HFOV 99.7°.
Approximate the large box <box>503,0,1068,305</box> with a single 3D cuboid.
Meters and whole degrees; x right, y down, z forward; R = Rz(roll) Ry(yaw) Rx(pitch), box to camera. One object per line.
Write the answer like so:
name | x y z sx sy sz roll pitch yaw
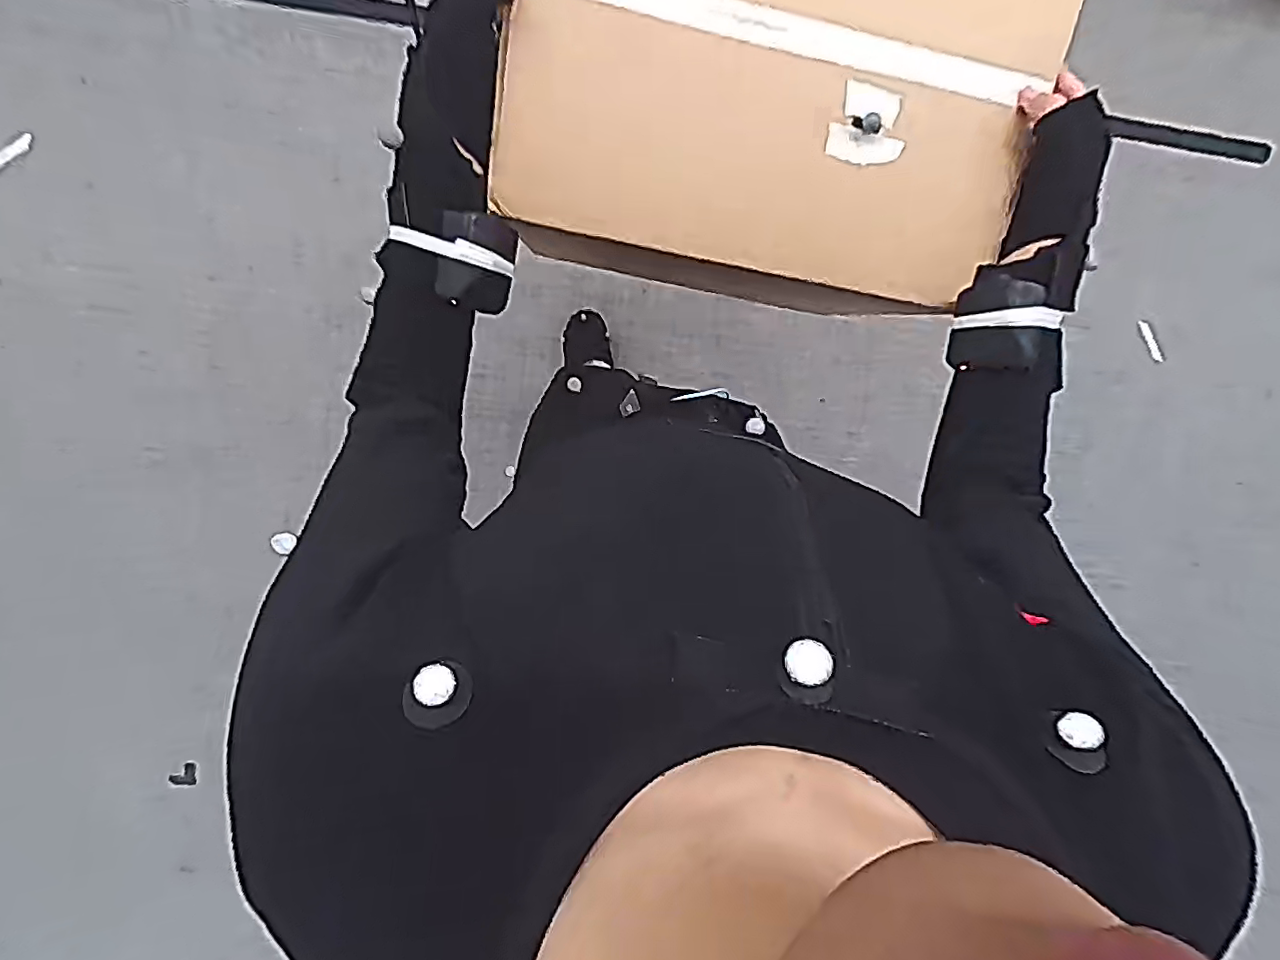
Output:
large box | 0.096 -0.365 0.536 0.408 0.320 0.320 8 108 -8
